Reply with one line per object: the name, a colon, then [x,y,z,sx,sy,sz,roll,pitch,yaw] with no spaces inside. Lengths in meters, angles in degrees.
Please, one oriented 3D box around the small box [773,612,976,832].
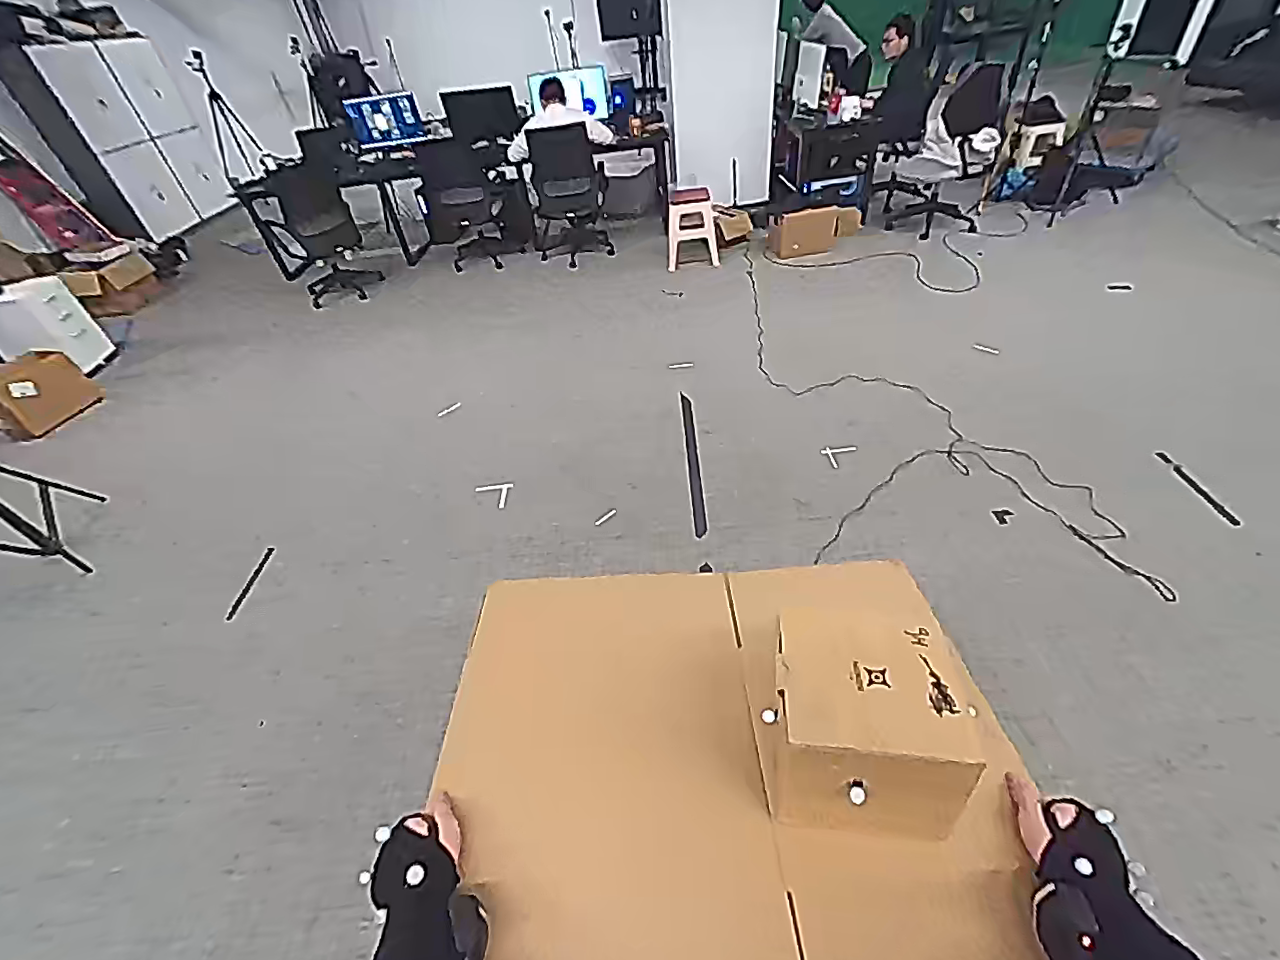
small box: [0.244,0.271,0.614,0.179,0.176,0.168,0,36,11]
